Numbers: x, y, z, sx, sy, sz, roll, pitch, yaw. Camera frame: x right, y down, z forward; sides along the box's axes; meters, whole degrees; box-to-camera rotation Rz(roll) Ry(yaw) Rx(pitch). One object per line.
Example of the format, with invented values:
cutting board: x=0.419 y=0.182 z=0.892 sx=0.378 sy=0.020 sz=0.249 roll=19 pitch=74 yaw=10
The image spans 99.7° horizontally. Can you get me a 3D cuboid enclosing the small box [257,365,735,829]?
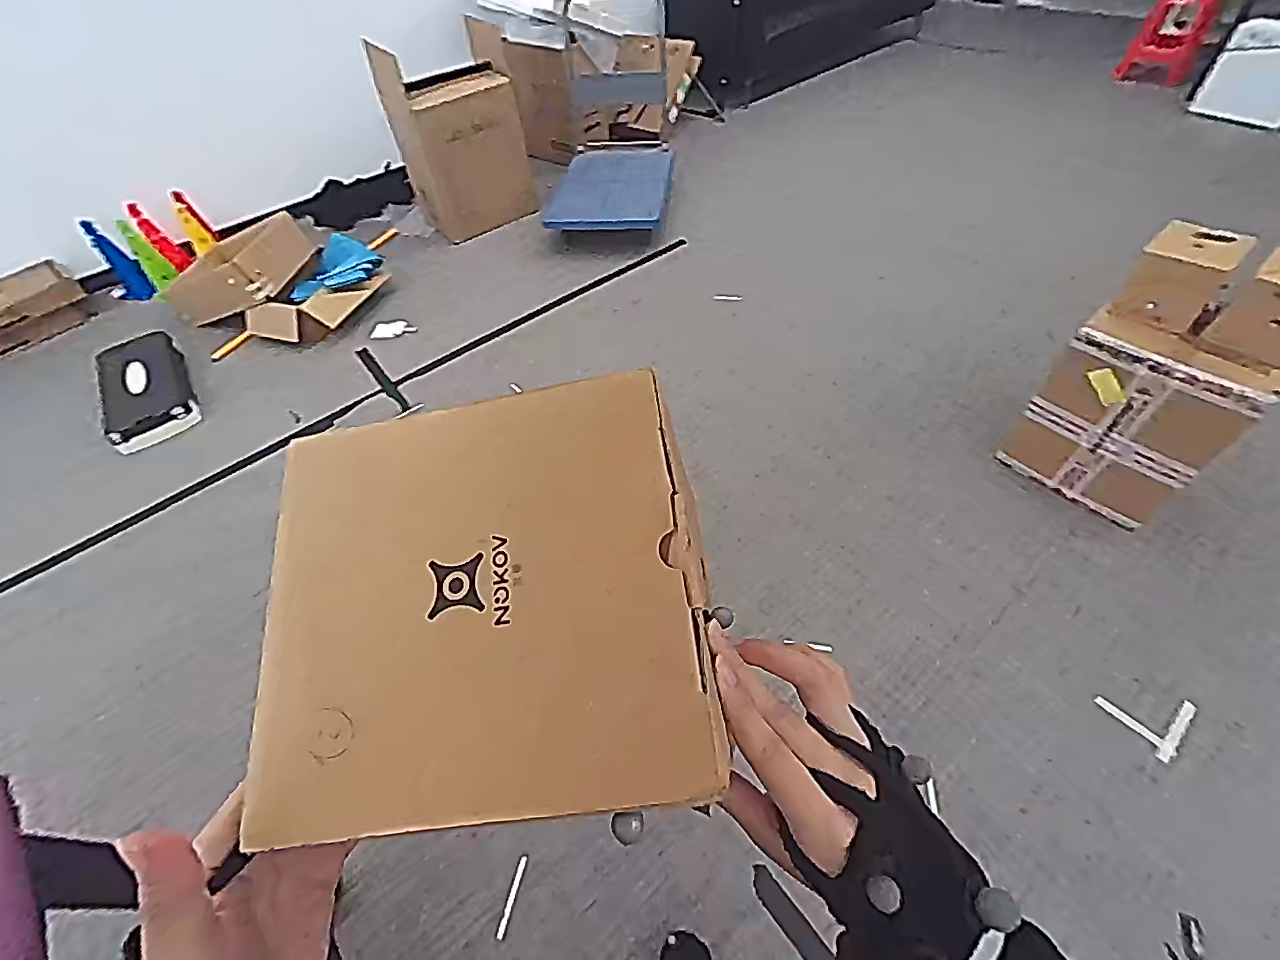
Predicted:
small box: x=-0.050 y=0.068 z=0.289 sx=0.179 sy=0.176 sz=0.168 roll=-11 pitch=67 yaw=6

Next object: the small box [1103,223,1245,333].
small box: x=1.285 y=-0.489 z=1.314 sx=0.179 sy=0.176 sz=0.168 roll=-38 pitch=54 yaw=-21

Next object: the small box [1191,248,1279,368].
small box: x=1.423 y=-0.391 z=1.215 sx=0.179 sy=0.176 sz=0.168 roll=-38 pitch=59 yaw=-21
